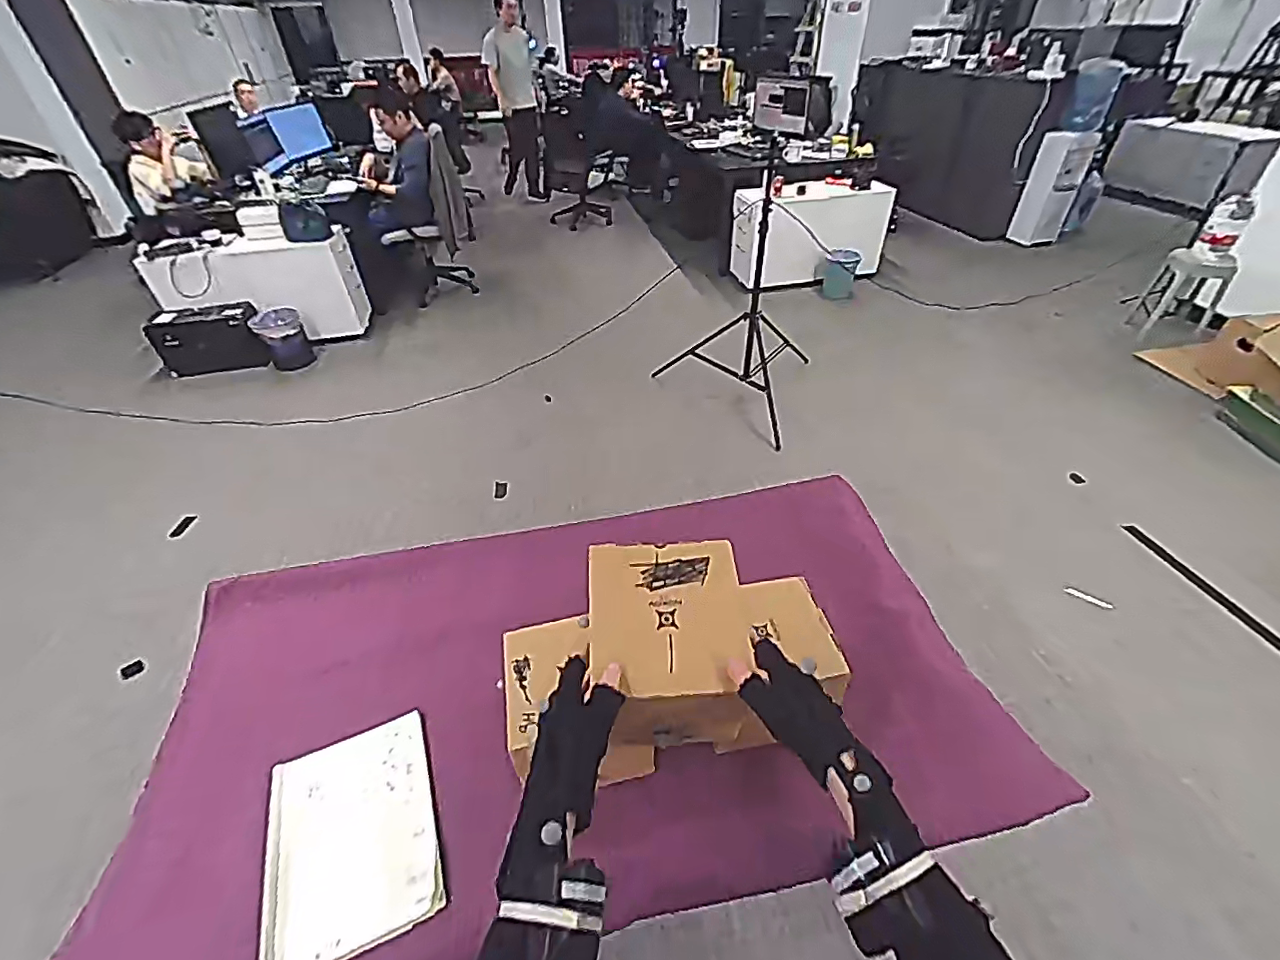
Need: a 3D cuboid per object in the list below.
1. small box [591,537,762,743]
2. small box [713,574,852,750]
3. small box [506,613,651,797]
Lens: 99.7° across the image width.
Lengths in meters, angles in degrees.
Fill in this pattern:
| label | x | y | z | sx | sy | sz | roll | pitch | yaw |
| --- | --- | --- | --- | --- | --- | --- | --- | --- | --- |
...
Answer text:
| label | x | y | z | sx | sy | sz | roll | pitch | yaw |
| --- | --- | --- | --- | --- | --- | --- | --- | --- | --- |
| small box | 0.029 | 0.185 | 0.622 | 0.168 | 0.176 | 0.179 | -2 | 51 | -3 |
| small box | 0.177 | 0.263 | 0.786 | 0.179 | 0.176 | 0.168 | -9 | 39 | -4 |
| small box | -0.082 | 0.306 | 0.748 | 0.179 | 0.176 | 0.168 | -9 | 40 | -9 |
